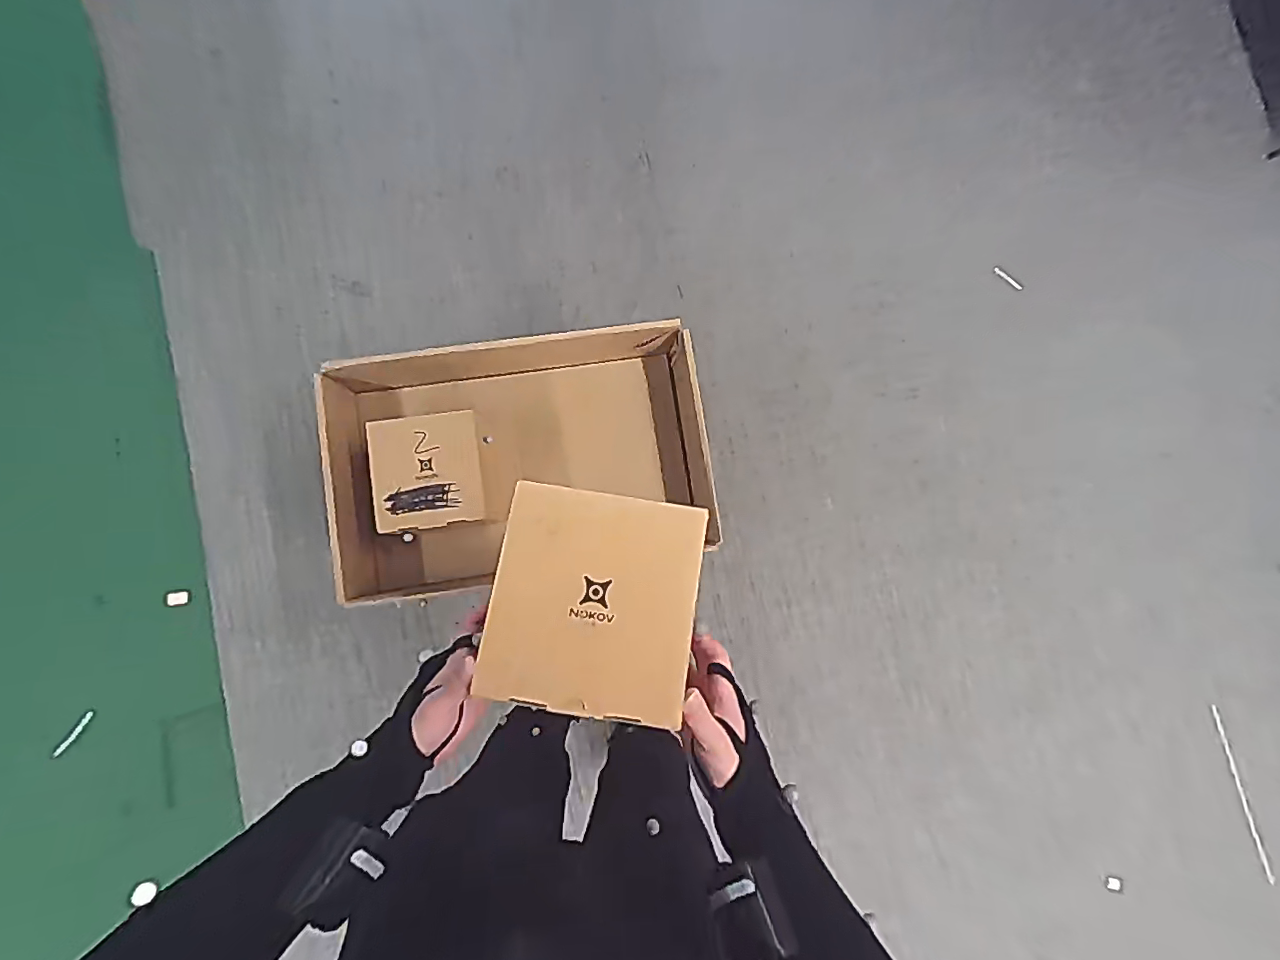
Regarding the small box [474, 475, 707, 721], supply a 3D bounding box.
[{"bbox_3d":[-0.038,0.108,0.513,0.168,0.176,0.179,8,77,1],"label":"small box"}]
